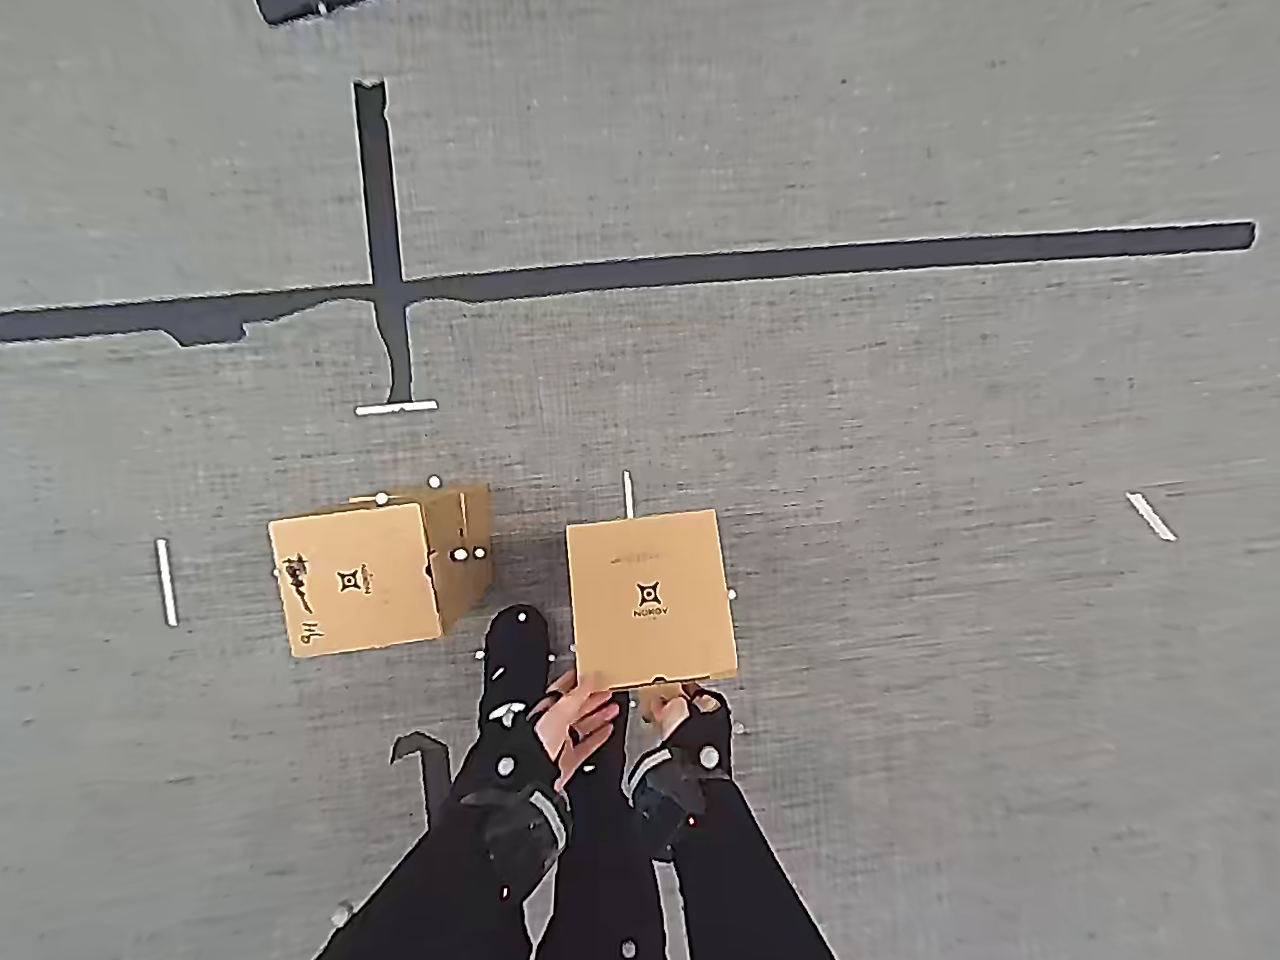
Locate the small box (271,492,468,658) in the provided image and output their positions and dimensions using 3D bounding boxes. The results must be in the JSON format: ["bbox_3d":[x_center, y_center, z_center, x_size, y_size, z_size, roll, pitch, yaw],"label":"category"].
[{"bbox_3d":[-0.329,0.109,0.699,0.179,0.176,0.168,-6,94,-5],"label":"small box"}]

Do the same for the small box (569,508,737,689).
[{"bbox_3d":[0.012,0.141,0.642,0.168,0.176,0.179,-6,74,-1],"label":"small box"}]

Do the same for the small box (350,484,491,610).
[{"bbox_3d":[-0.338,0.101,0.863,0.168,0.176,0.179,-2,93,-5],"label":"small box"}]
